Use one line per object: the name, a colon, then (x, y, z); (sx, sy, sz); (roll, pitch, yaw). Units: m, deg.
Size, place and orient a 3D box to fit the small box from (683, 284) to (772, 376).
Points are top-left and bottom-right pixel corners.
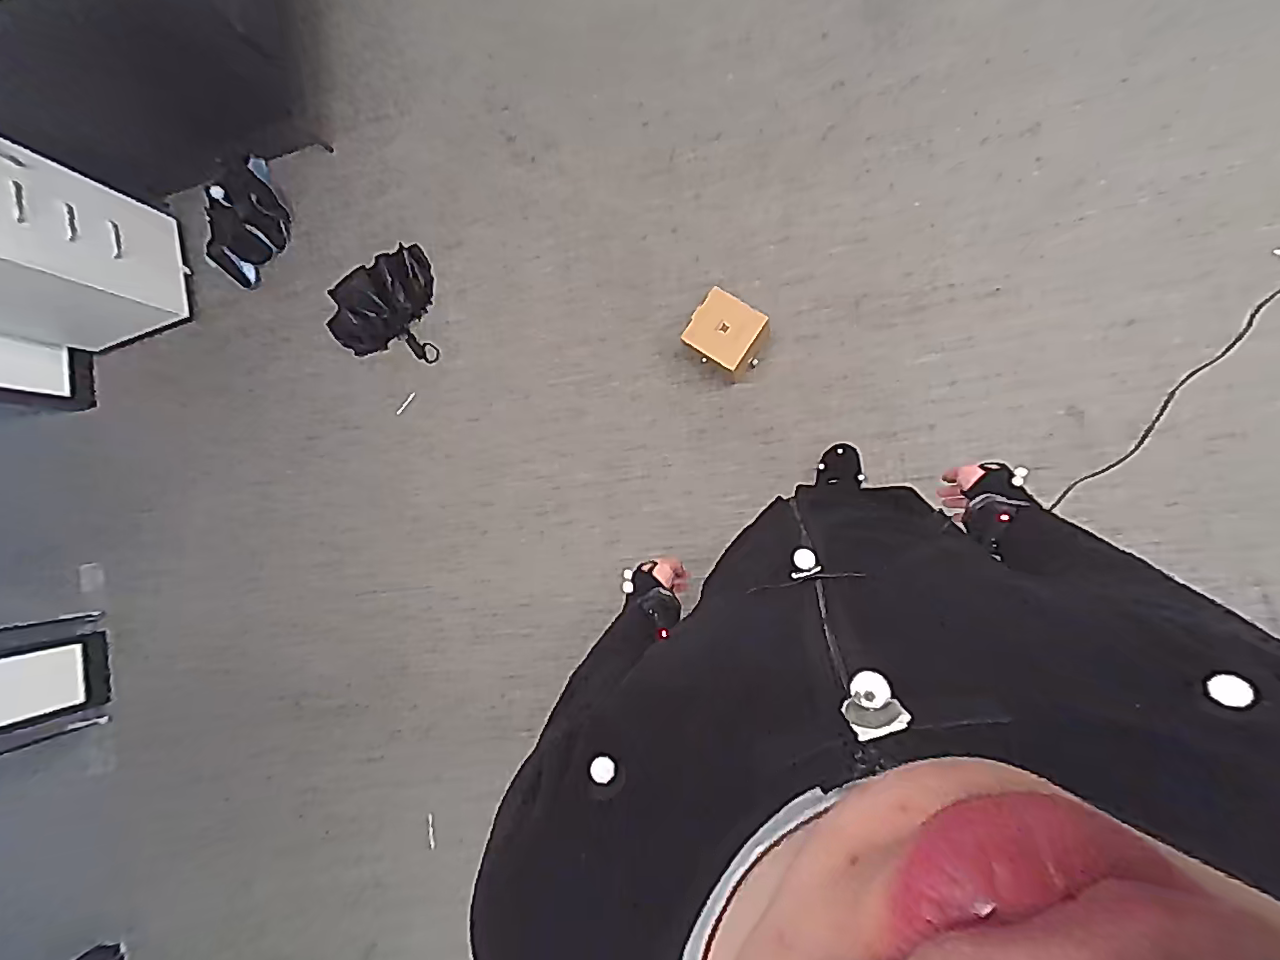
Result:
small box: (0.247, -0.407, 1.502); (0.179, 0.176, 0.168); (35, 99, 13)
